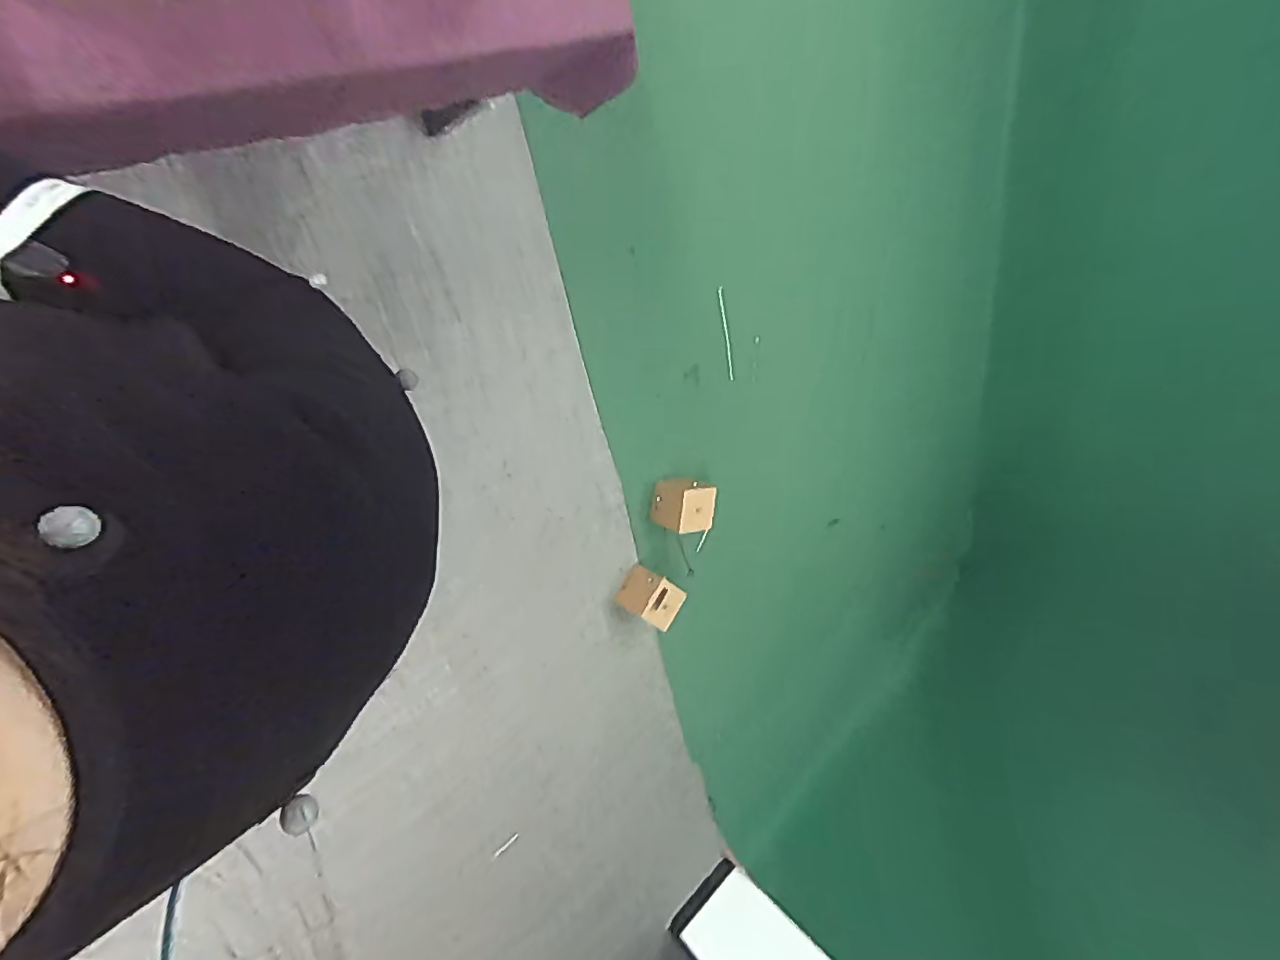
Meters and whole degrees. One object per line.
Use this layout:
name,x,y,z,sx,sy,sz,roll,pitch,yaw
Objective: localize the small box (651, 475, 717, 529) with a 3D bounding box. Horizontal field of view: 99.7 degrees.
small box,0.168,0.078,2.078,0.179,0.176,0.168,-4,106,-39
